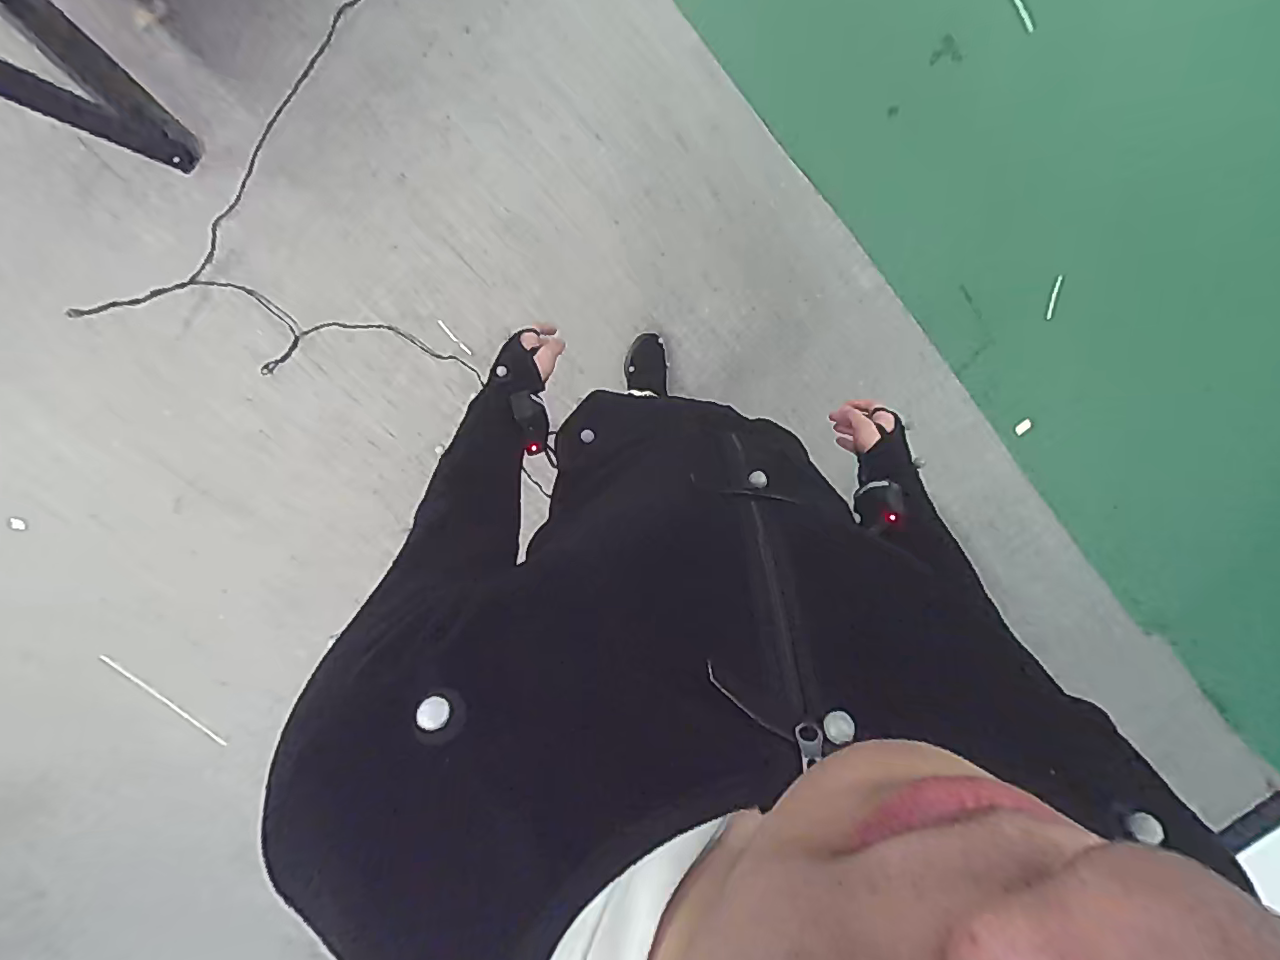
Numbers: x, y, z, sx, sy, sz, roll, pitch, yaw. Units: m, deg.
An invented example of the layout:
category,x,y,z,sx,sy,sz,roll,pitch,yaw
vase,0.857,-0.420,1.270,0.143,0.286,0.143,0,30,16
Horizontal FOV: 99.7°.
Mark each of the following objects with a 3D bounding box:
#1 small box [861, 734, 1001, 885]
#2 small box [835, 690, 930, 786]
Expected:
category,x,y,z,sx,sy,sz,roll,pitch,yaw
small box,0.600,0.690,1.147,0.179,0.176,0.168,-41,102,6
small box,0.594,0.654,1.306,0.179,0.176,0.168,-39,102,7
